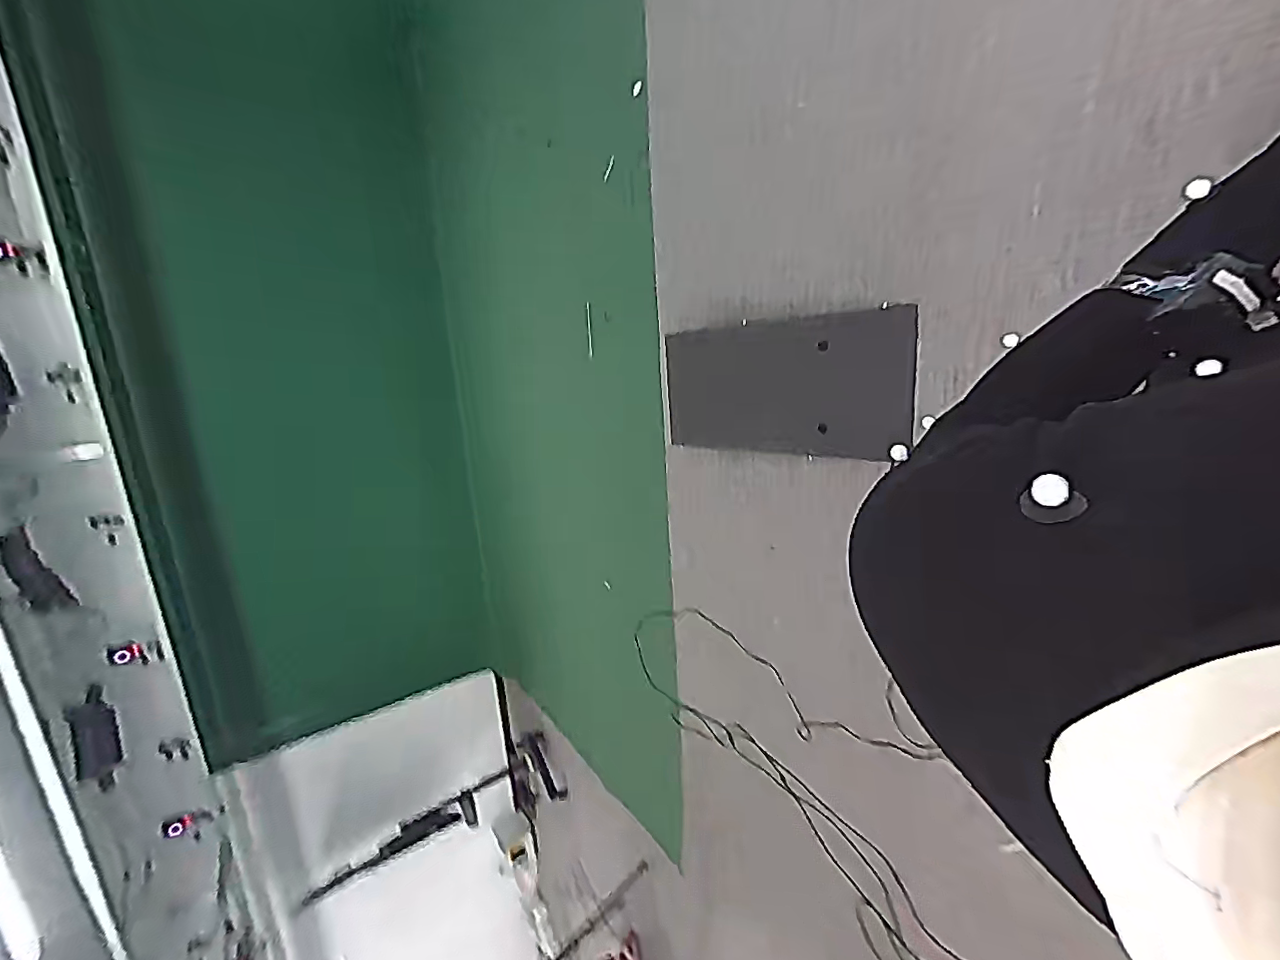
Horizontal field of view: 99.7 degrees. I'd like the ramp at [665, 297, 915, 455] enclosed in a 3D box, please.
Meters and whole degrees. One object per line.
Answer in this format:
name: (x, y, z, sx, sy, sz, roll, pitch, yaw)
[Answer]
ramp: (0.484, -0.367, 2.011, 0.991, 0.206, 0.509, 11, 109, 53)
